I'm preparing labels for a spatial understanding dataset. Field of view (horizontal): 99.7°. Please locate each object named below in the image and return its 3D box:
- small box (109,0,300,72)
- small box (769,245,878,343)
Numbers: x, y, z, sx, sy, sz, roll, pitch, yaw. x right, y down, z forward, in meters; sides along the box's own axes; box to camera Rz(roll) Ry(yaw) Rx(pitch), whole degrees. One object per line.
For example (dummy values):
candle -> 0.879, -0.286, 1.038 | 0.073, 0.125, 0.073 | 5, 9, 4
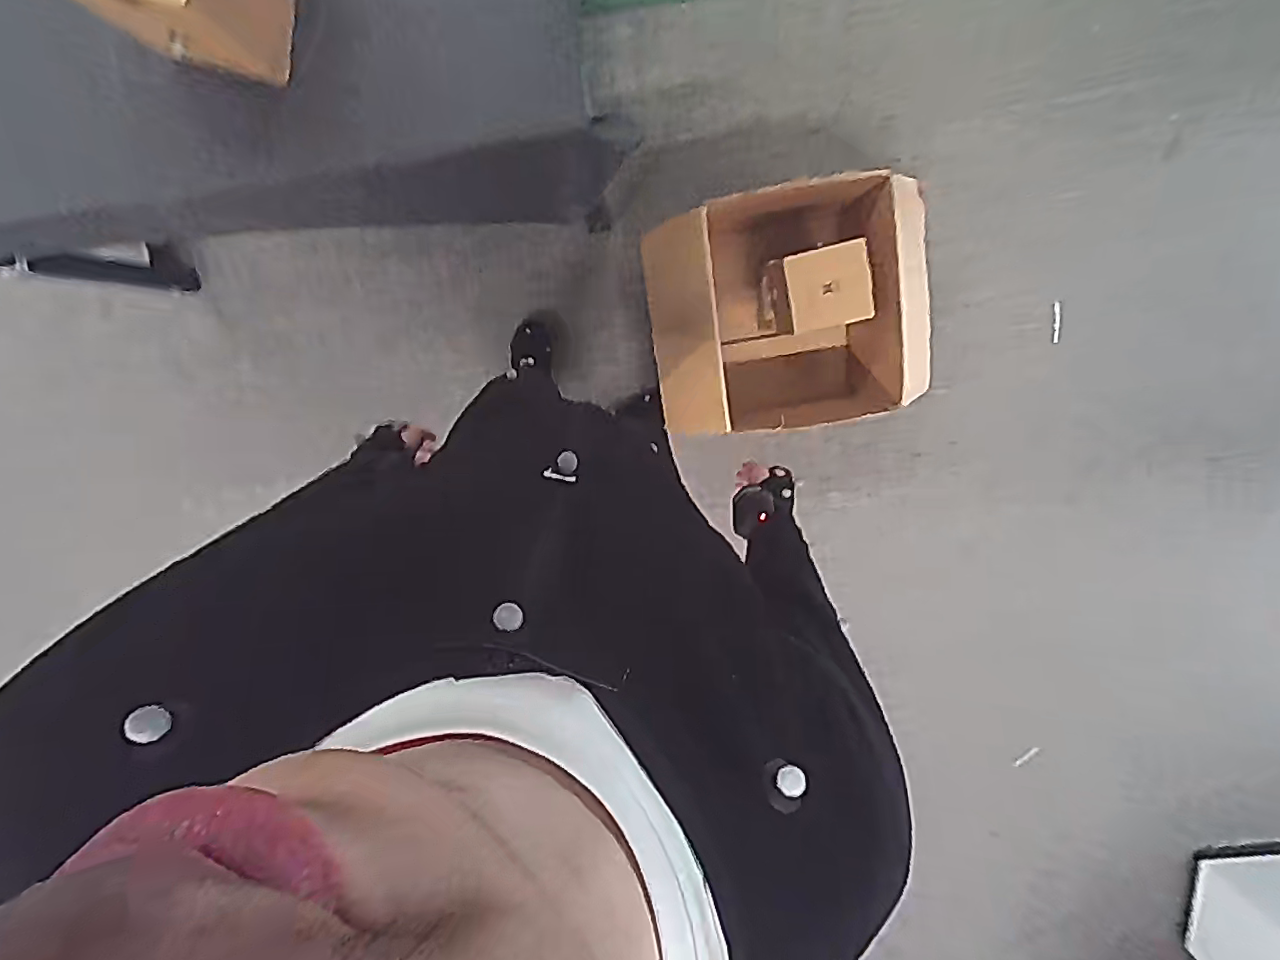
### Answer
small box -> -0.510, -0.607, 0.607 | 0.168, 0.176, 0.179 | 14, 104, -3
small box -> 0.402, -0.410, 1.204 | 0.179, 0.176, 0.168 | -13, 105, 5
